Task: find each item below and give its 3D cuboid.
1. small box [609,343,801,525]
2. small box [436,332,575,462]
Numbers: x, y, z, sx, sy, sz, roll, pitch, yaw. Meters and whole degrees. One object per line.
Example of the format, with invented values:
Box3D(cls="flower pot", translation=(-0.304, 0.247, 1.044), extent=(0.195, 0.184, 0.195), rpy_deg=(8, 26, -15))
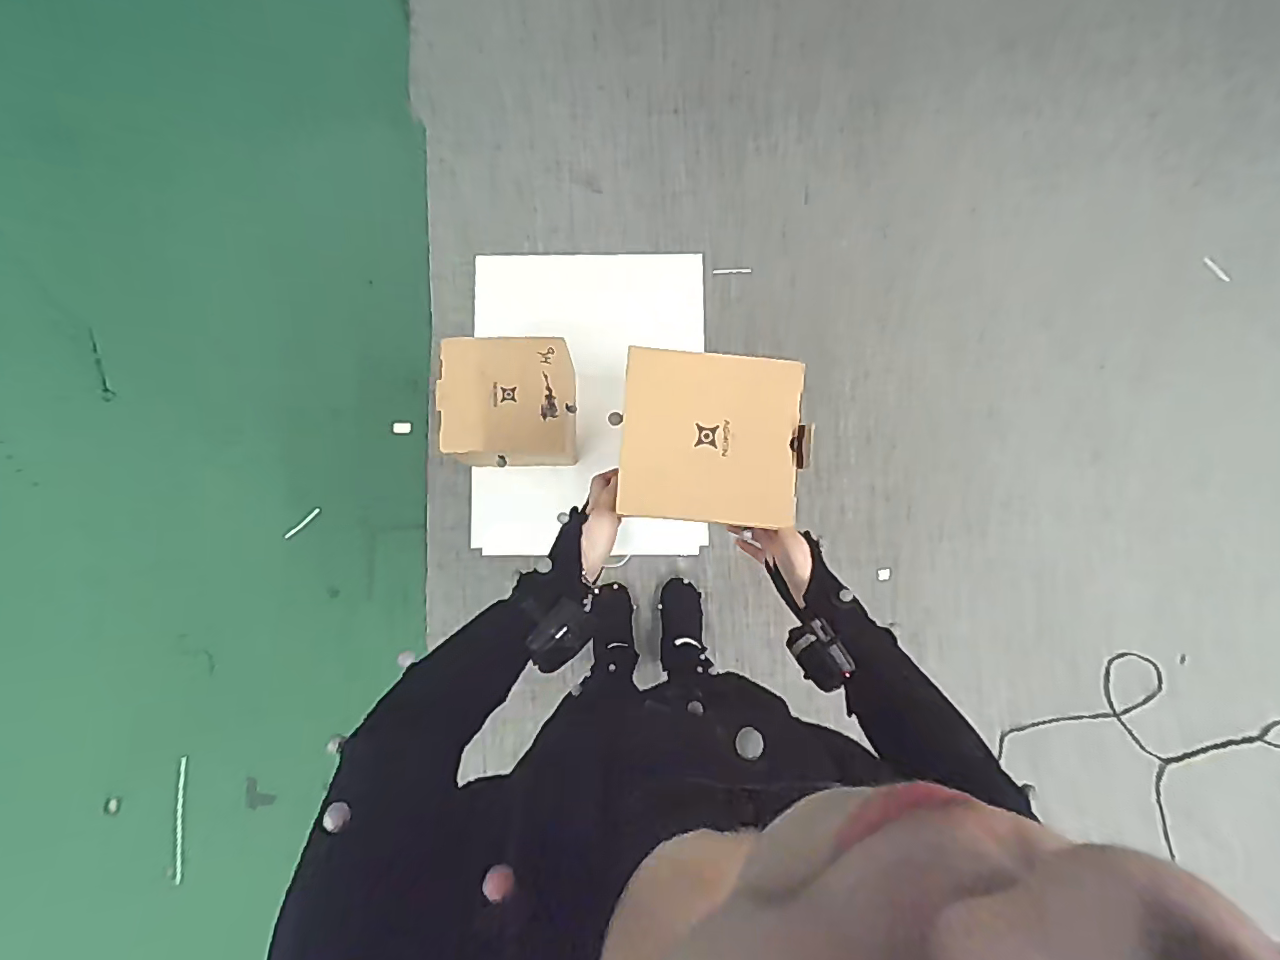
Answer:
Box3D(cls="small box", translation=(0.059, -0.040, 0.594), extent=(0.179, 0.176, 0.168), rpy_deg=(5, 87, -4))
Box3D(cls="small box", translation=(-0.196, -0.118, 0.830), extent=(0.179, 0.176, 0.168), rpy_deg=(-1, 85, -2))
